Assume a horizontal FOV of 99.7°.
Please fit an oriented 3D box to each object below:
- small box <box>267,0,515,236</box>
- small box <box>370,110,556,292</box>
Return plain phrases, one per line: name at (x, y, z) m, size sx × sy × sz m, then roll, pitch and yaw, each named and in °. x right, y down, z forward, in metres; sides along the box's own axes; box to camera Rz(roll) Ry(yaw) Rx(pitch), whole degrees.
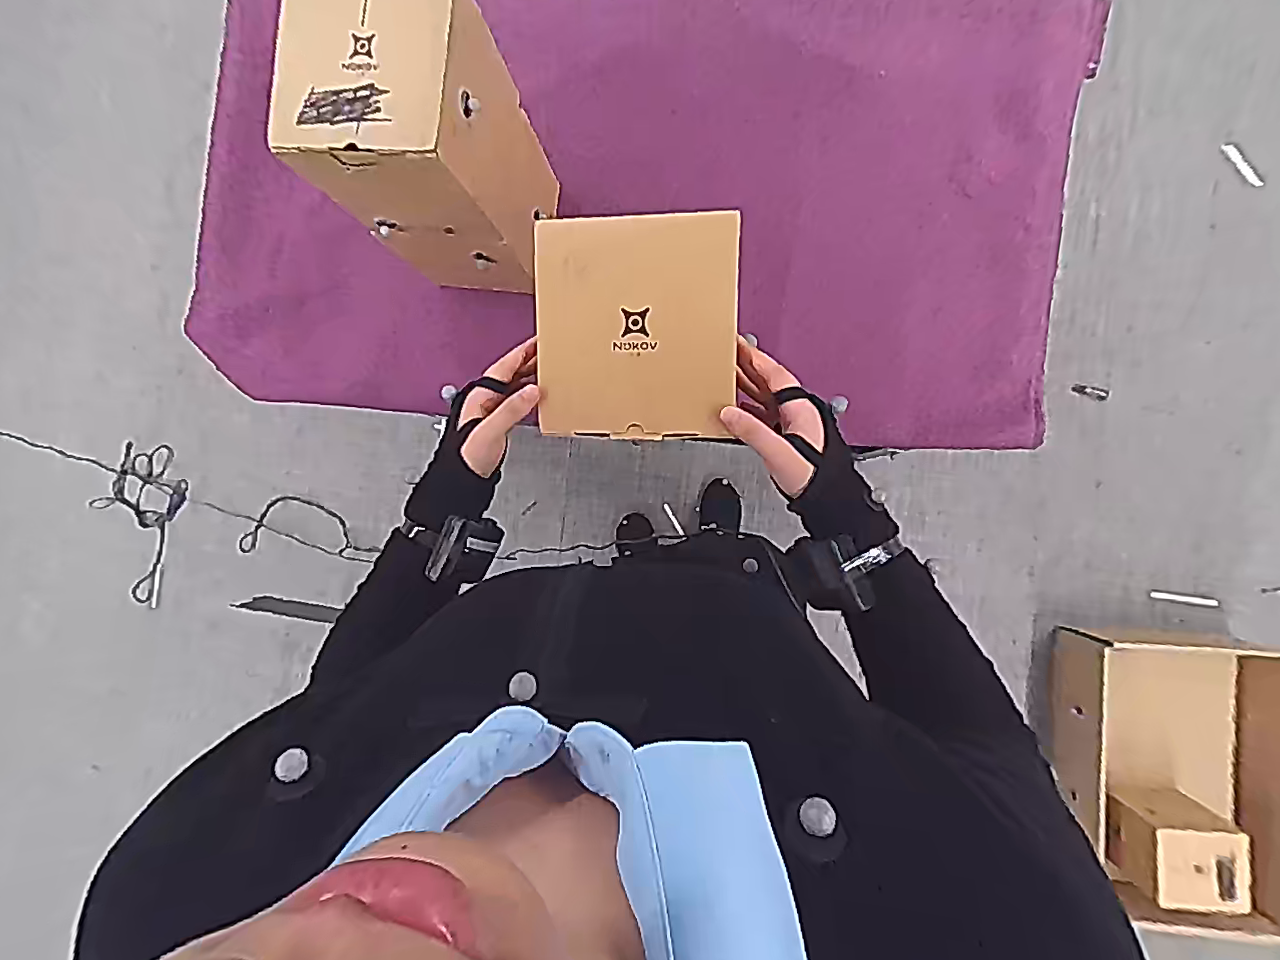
small box at (-0.240, -0.375, 0.560) m, size 0.168 × 0.176 × 0.179 m, roll 6°, pitch 89°, yaw 6°
small box at (-0.222, -0.364, 0.723) m, size 0.179 × 0.176 × 0.168 m, roll 8°, pitch 89°, yaw 7°
